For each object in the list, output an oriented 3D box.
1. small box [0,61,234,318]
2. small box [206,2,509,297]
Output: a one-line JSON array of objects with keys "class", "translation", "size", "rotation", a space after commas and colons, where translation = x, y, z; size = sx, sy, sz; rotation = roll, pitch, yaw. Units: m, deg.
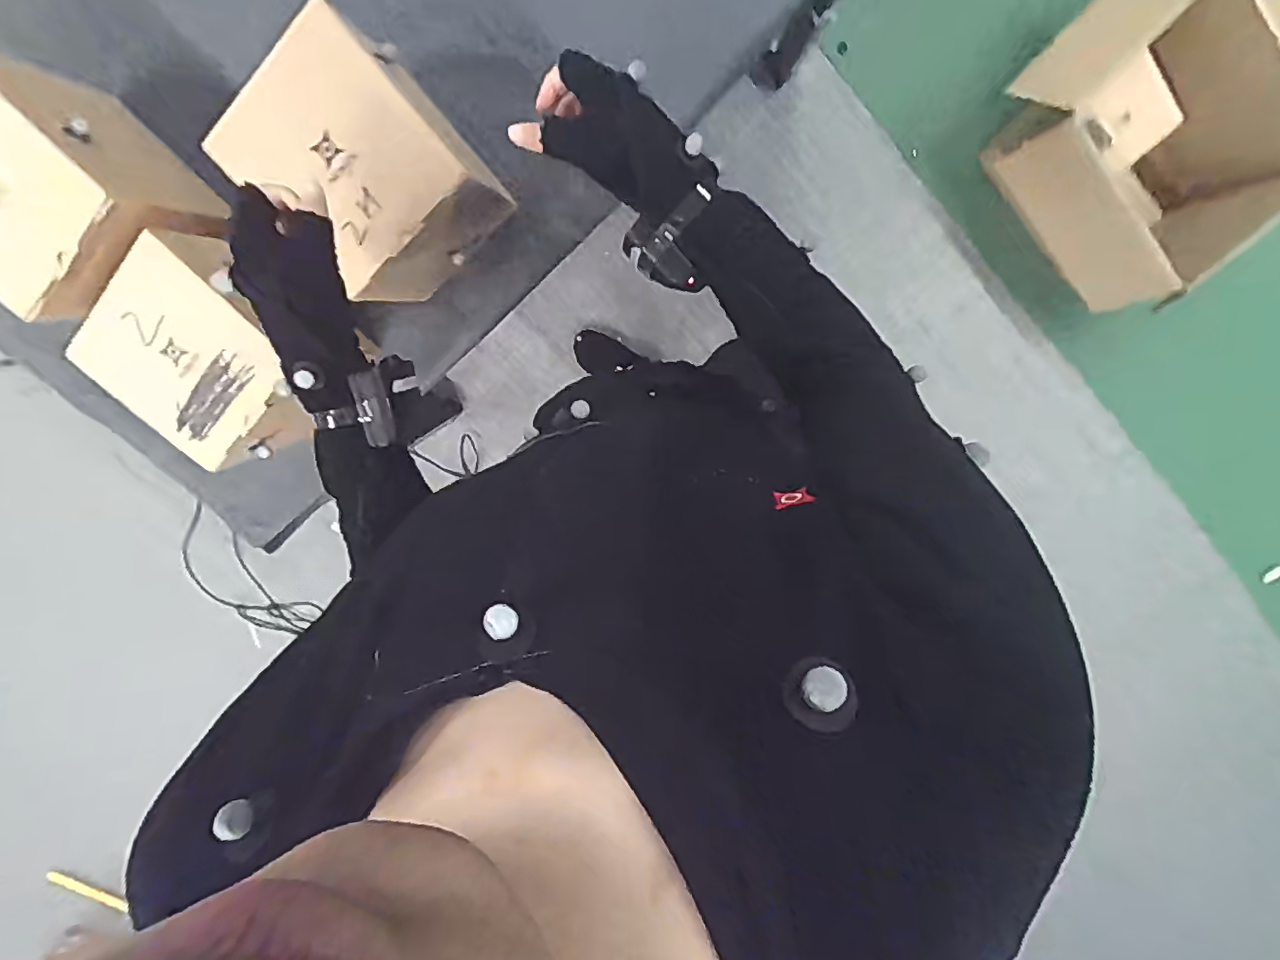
[{"class": "small box", "translation": [-0.597, -0.292, 0.569], "size": [0.168, 0.176, 0.179], "rotation": [-41, 104, 14]}, {"class": "small box", "translation": [-0.265, -0.306, 0.552], "size": [0.168, 0.176, 0.179], "rotation": [-39, 103, 14]}]
